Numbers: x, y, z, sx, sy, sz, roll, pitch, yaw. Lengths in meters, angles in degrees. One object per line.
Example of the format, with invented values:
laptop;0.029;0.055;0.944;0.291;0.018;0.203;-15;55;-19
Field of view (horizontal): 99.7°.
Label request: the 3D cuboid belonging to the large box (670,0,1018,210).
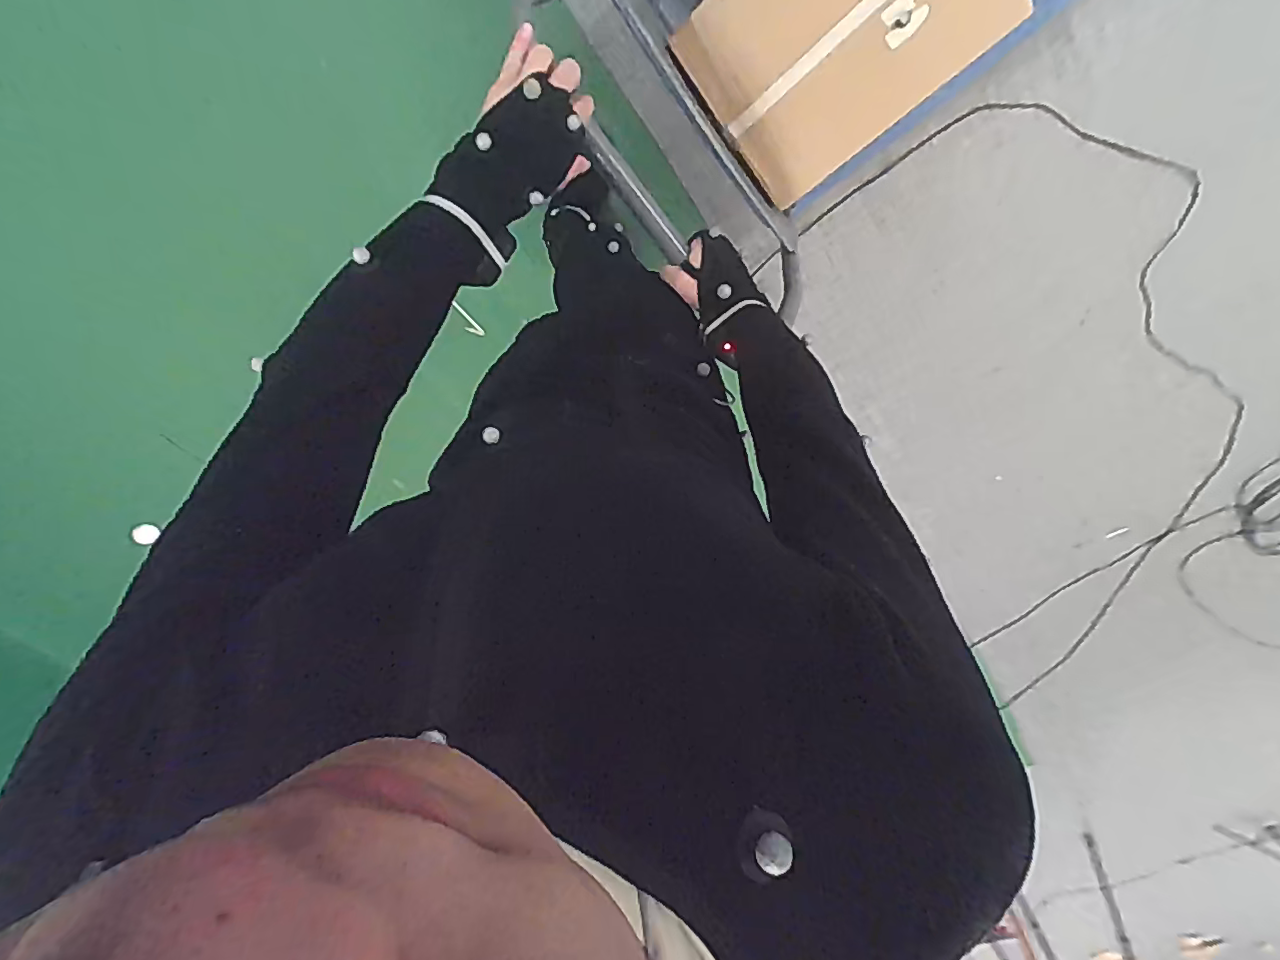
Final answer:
large box;0.303;-0.748;0.906;0.408;0.320;0.320;-31;119;28
